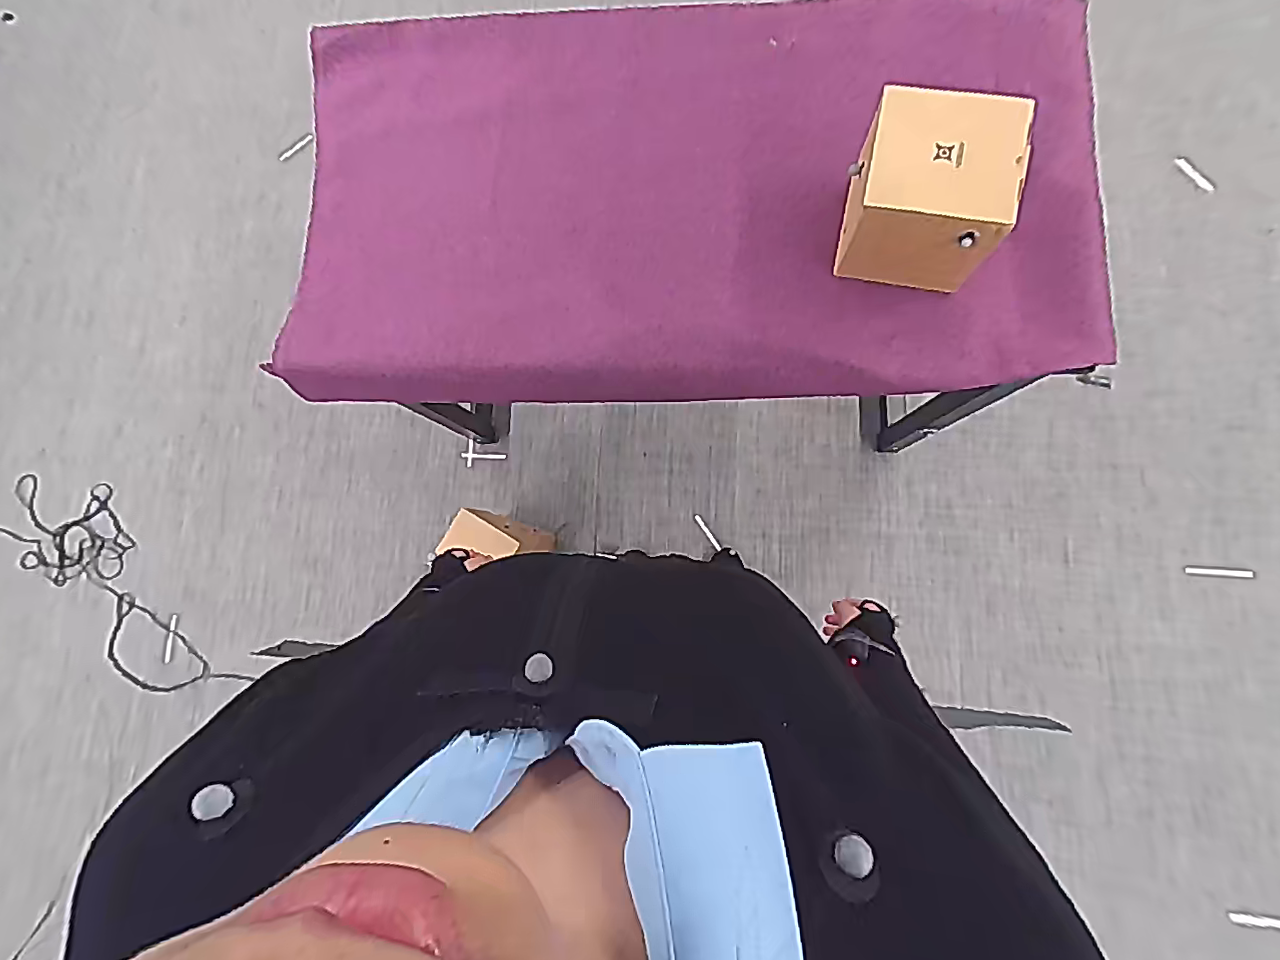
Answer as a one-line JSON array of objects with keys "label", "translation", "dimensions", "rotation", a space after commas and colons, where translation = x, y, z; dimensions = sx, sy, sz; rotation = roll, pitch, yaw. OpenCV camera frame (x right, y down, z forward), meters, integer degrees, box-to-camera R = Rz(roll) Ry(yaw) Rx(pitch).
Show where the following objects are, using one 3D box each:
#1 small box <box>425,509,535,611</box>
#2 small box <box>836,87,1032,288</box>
[{"label": "small box", "translation": [-0.370, 0.188, 1.298], "dimensions": [0.168, 0.176, 0.179], "rotation": [30, 87, 8]}, {"label": "small box", "translation": [0.378, -0.380, 0.727], "dimensions": [0.179, 0.176, 0.168], "rotation": [11, 83, 8]}]
